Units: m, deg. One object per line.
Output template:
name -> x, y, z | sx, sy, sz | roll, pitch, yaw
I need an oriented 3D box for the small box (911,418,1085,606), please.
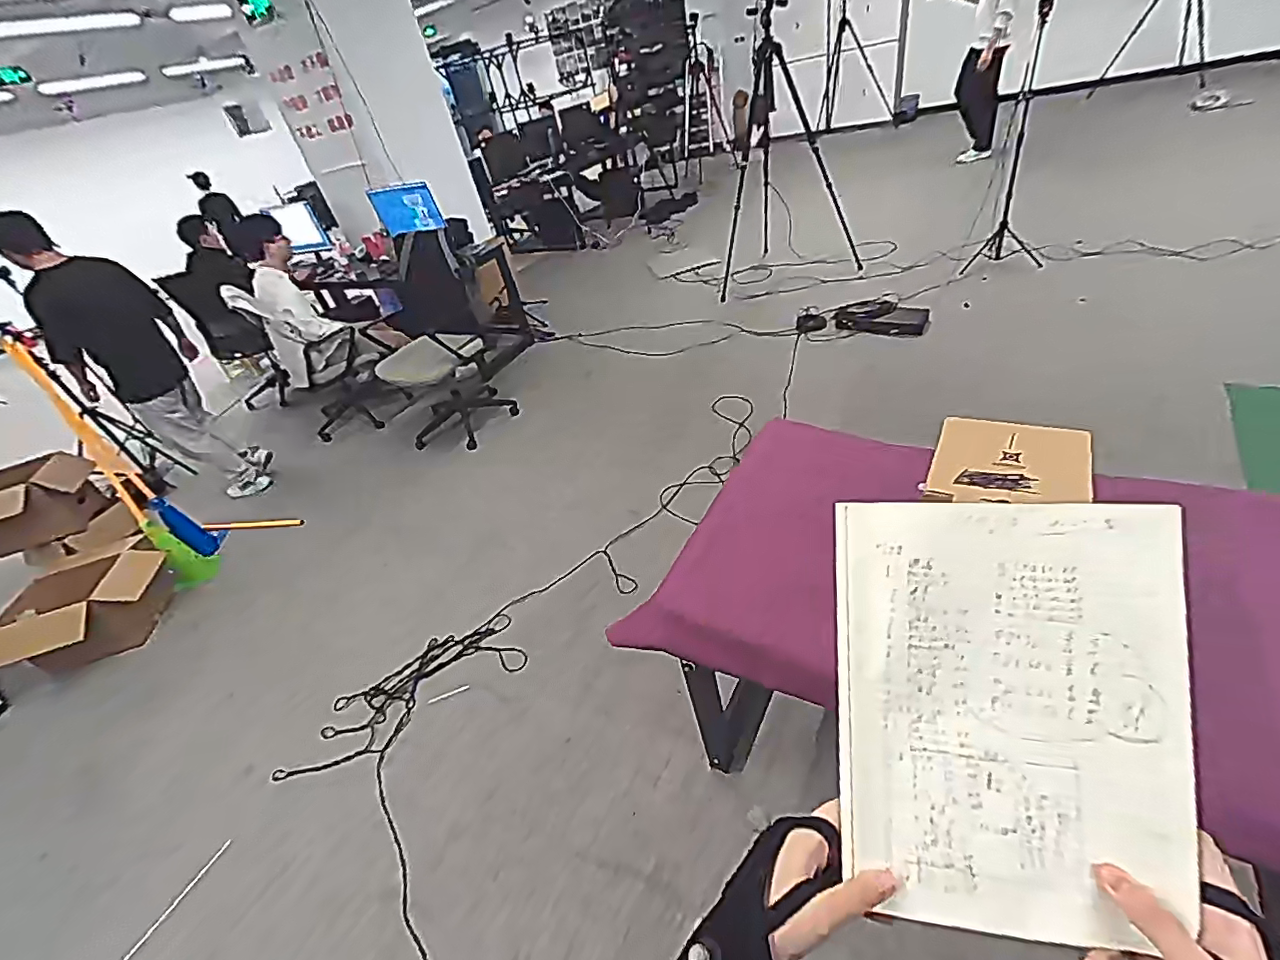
small box -> 0.474, 0.040, 0.730 | 0.168, 0.176, 0.179 | 13, 44, 31

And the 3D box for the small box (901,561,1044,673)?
small box -> 0.510, 0.164, 0.834 | 0.168, 0.176, 0.179 | 13, 46, 30
